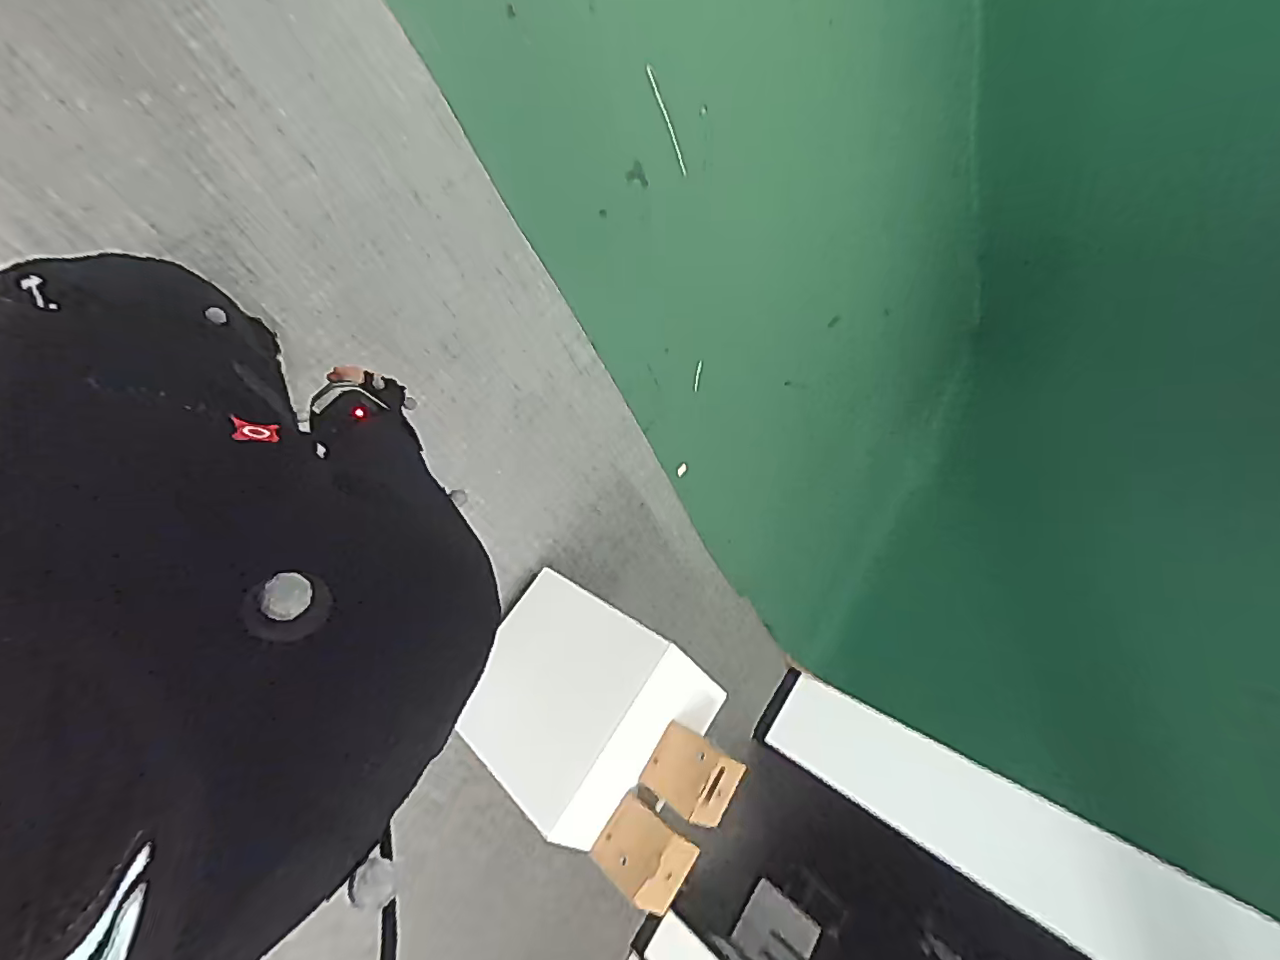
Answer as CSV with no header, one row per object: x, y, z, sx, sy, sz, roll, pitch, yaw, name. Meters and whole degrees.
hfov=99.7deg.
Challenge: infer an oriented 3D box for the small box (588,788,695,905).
0.001,0.903,1.342,0.168,0.176,0.179,-51,134,-20,small box
